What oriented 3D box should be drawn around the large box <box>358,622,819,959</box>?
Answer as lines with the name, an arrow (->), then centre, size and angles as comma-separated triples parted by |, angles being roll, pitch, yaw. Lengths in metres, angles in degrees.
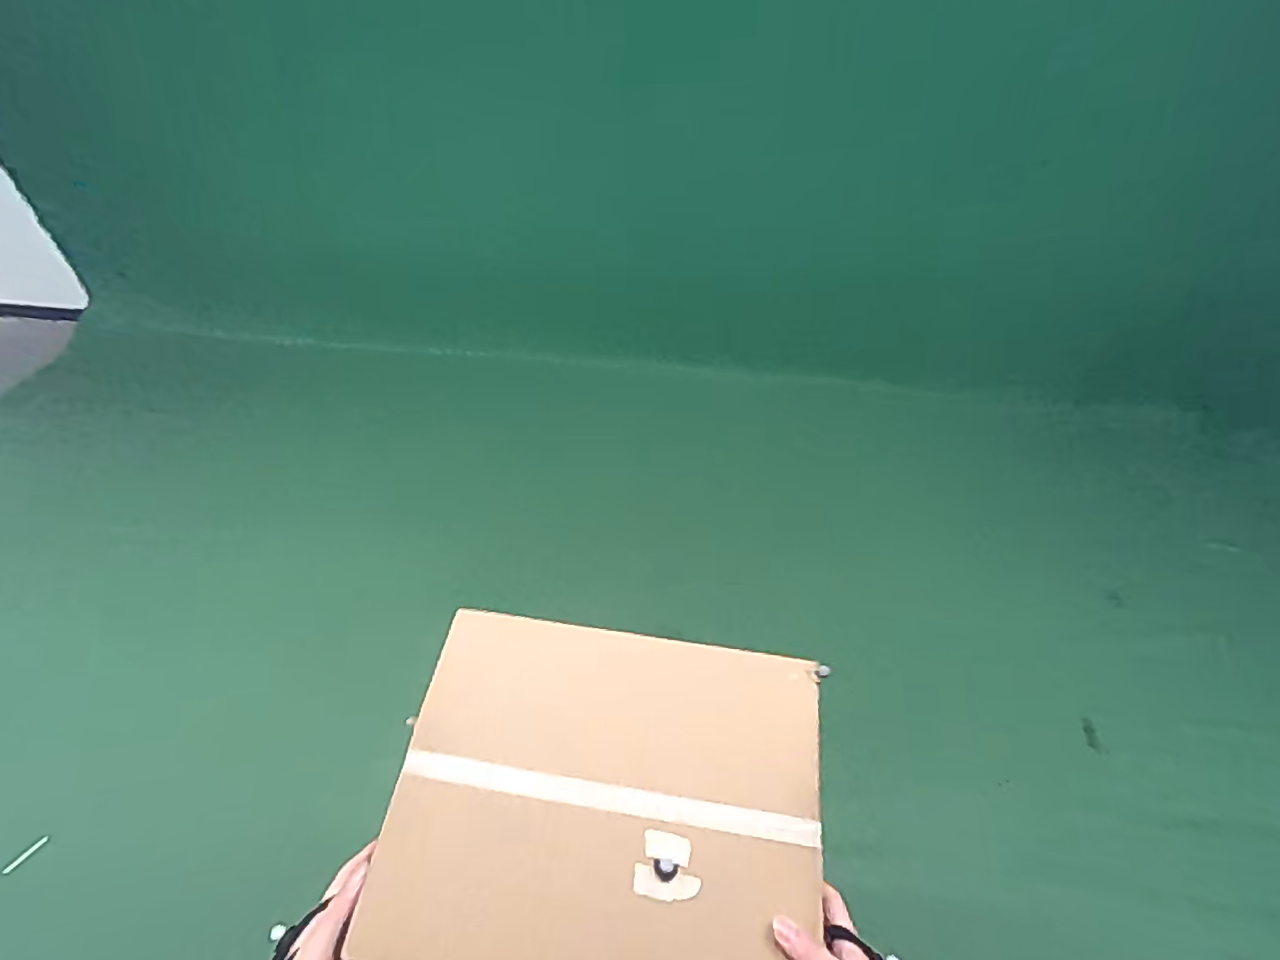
large box -> -0.030, 0.388, 0.653 | 0.408, 0.320, 0.320 | 6, 59, 5
